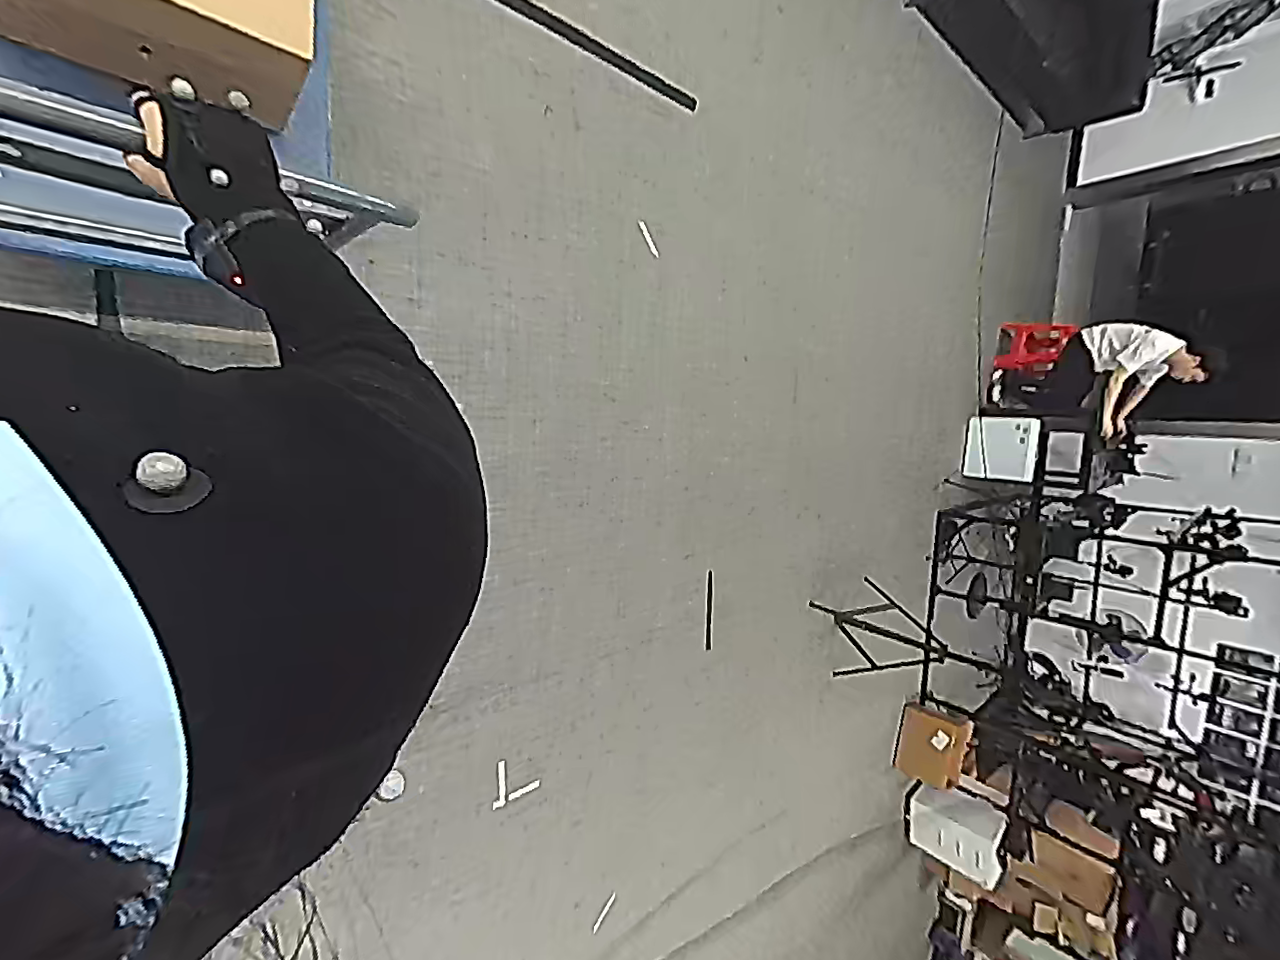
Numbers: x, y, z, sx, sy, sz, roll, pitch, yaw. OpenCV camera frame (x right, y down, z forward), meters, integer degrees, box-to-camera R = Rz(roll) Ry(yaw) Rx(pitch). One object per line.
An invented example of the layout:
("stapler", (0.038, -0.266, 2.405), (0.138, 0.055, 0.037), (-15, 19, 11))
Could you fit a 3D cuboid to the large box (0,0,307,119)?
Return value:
("large box", (-0.764, -0.834, 0.819), (0.408, 0.320, 0.320), (-2, 97, -41))
